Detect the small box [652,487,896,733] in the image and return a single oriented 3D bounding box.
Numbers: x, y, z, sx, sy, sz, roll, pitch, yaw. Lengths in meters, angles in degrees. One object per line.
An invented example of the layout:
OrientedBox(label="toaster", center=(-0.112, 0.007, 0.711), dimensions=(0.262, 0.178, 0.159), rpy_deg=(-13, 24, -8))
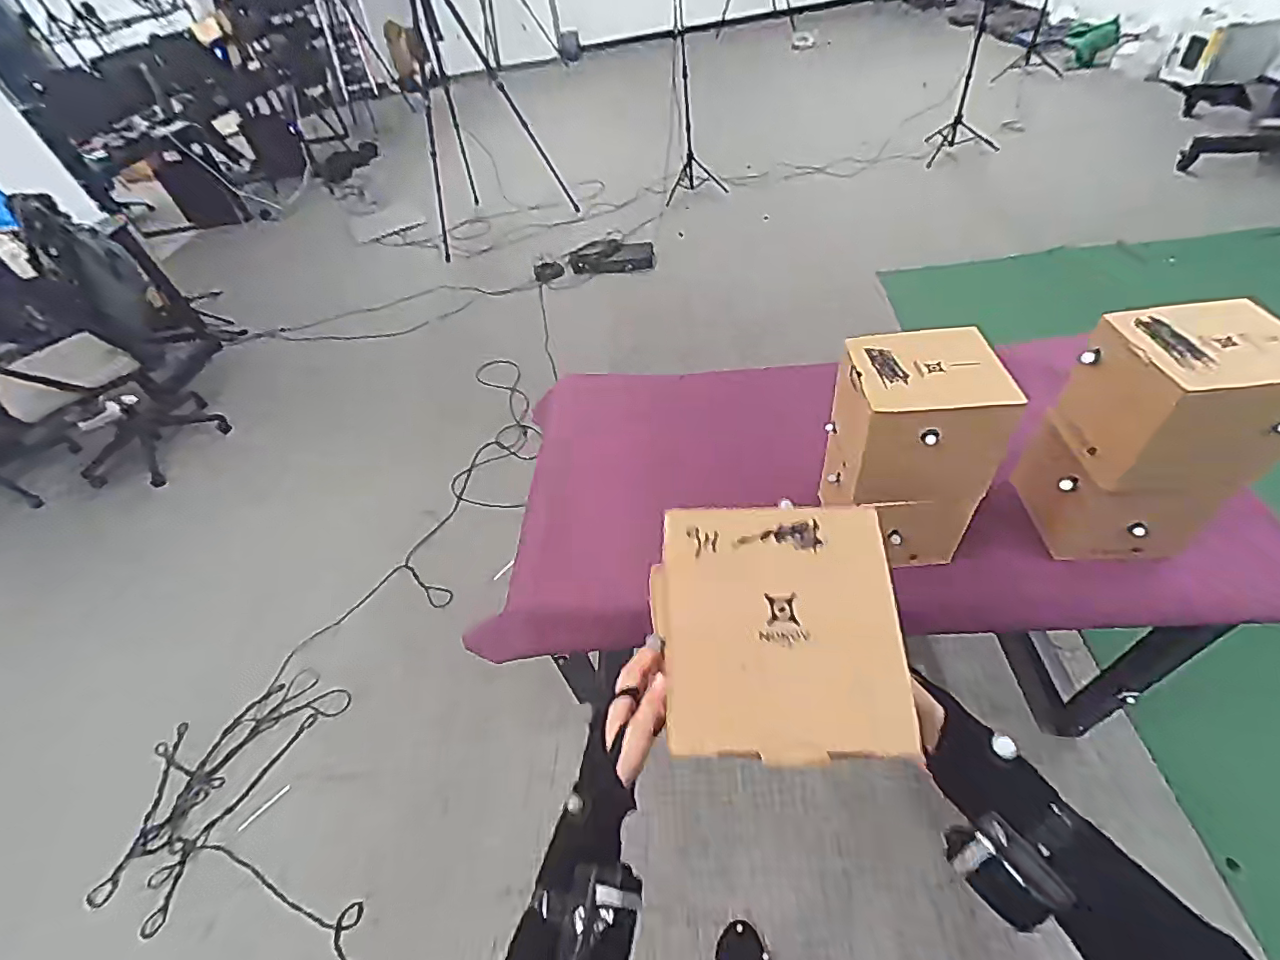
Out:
OrientedBox(label="small box", center=(0.096, 0.116, 0.468), dimensions=(0.168, 0.176, 0.179), rpy_deg=(0, 68, 2))

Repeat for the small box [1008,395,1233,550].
OrientedBox(label="small box", center=(0.705, -0.005, 0.823), dimensions=(0.168, 0.176, 0.179), rpy_deg=(-3, 47, 8))

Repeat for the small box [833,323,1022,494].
OrientedBox(label="small box", center=(0.370, -0.093, 0.743), dimensions=(0.179, 0.176, 0.168), rpy_deg=(-2, 47, 7))

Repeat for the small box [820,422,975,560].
OrientedBox(label="small box", center=(0.393, 0.016, 0.863), dimensions=(0.168, 0.176, 0.179), rpy_deg=(-6, 46, 6))
